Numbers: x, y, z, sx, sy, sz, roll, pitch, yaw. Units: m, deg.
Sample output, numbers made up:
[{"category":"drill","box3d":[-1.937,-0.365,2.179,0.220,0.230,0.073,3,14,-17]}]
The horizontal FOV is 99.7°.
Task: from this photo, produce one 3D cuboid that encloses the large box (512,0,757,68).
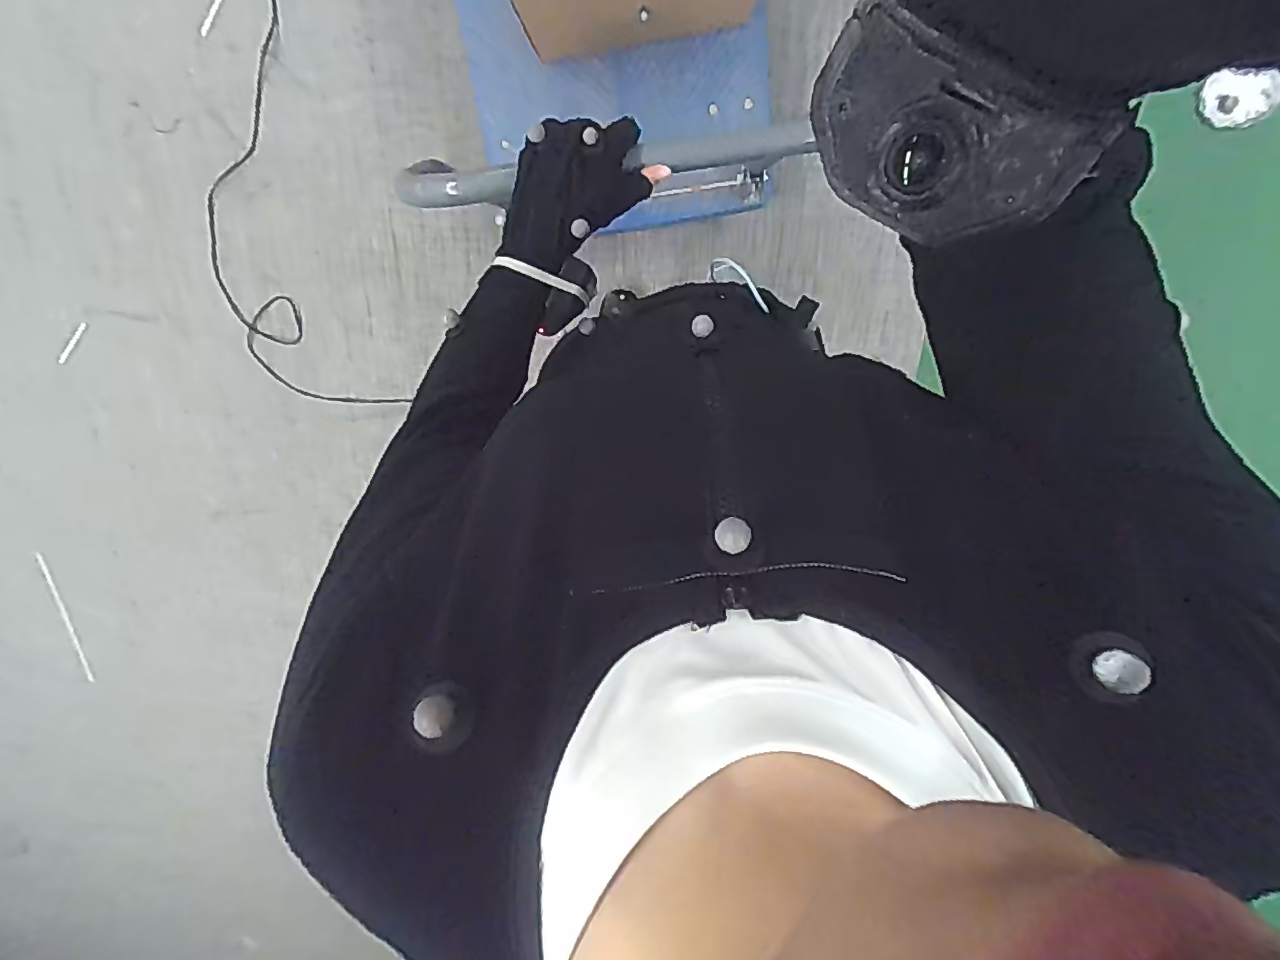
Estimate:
[{"category":"large box","box3d":[-0.016,-0.928,0.862,0.408,0.320,0.320,-8,108,5]}]
